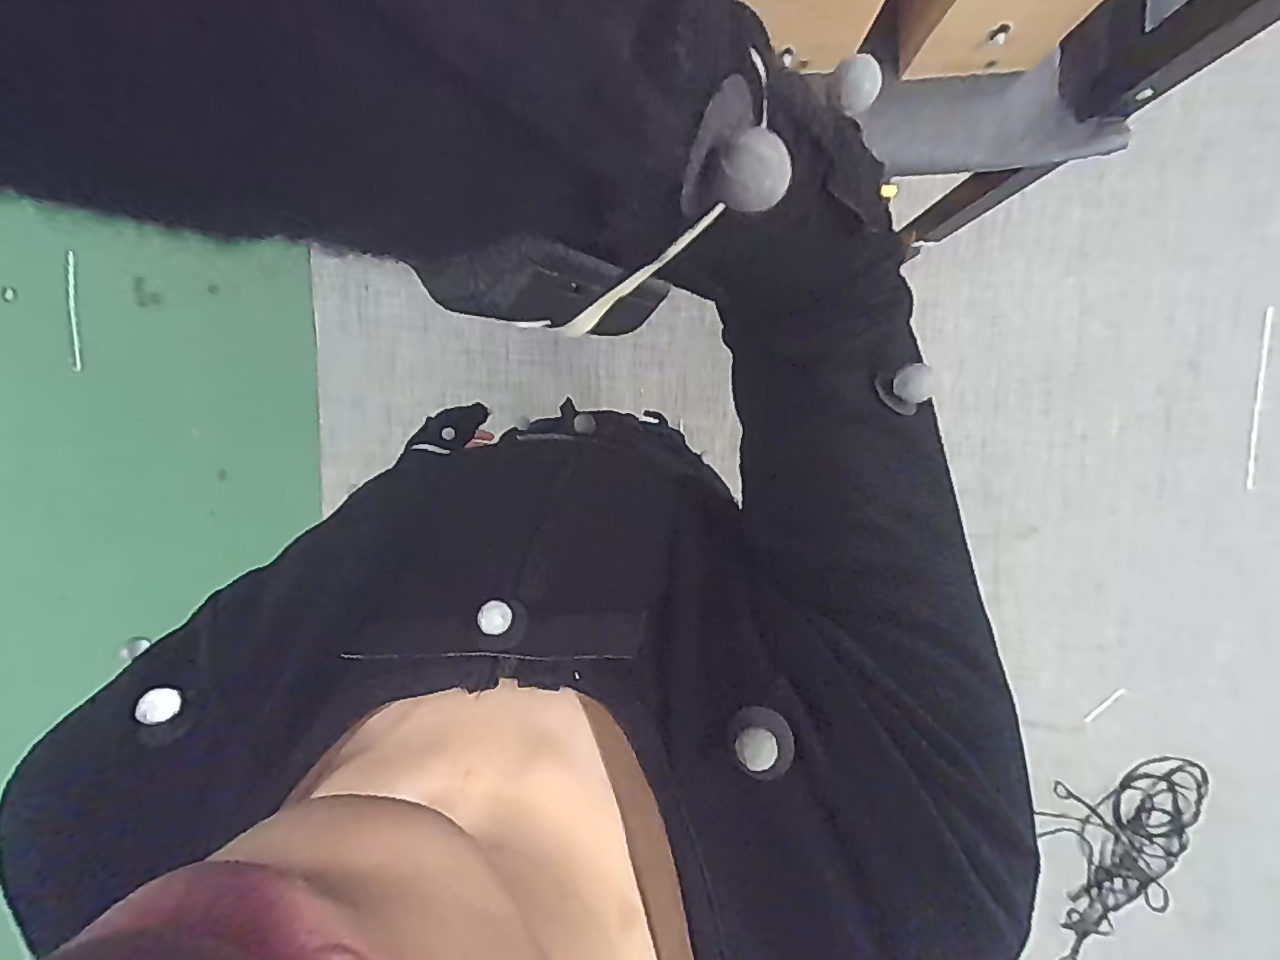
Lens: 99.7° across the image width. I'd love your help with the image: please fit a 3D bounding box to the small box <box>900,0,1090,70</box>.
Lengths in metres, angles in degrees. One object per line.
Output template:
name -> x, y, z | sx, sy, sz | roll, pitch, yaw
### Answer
small box -> 0.408, -0.594, 0.600 | 0.168, 0.176, 0.179 | -3, 95, 1
